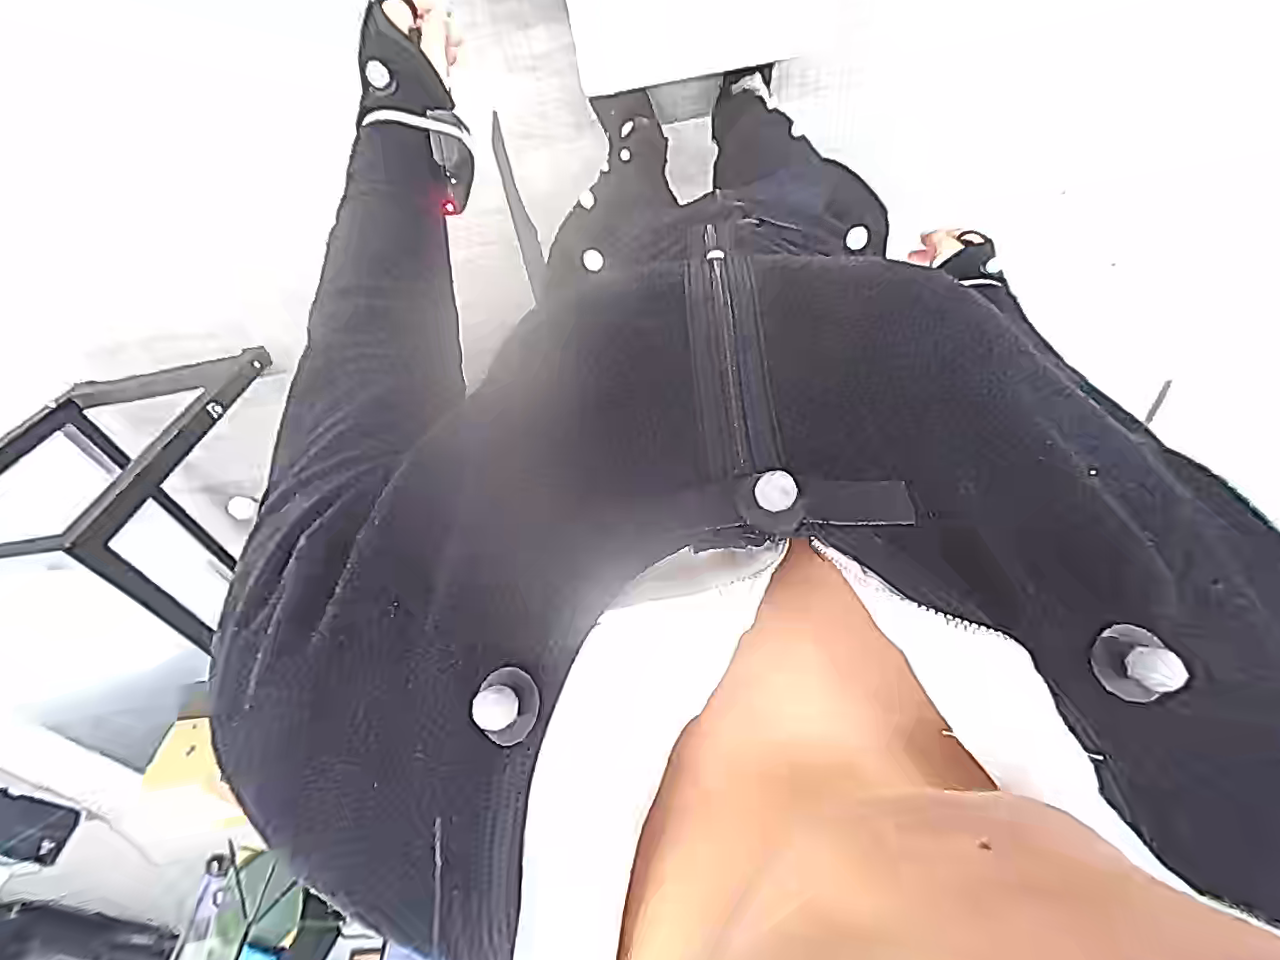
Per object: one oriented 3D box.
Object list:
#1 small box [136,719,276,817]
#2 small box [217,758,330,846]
[{"bbox_3d":[-1.056,0.705,1.335,0.168,0.176,0.179,-7,132,4],"label":"small box"},{"bbox_3d":[-1.013,0.903,1.517,0.168,0.176,0.179,-10,132,6],"label":"small box"}]
